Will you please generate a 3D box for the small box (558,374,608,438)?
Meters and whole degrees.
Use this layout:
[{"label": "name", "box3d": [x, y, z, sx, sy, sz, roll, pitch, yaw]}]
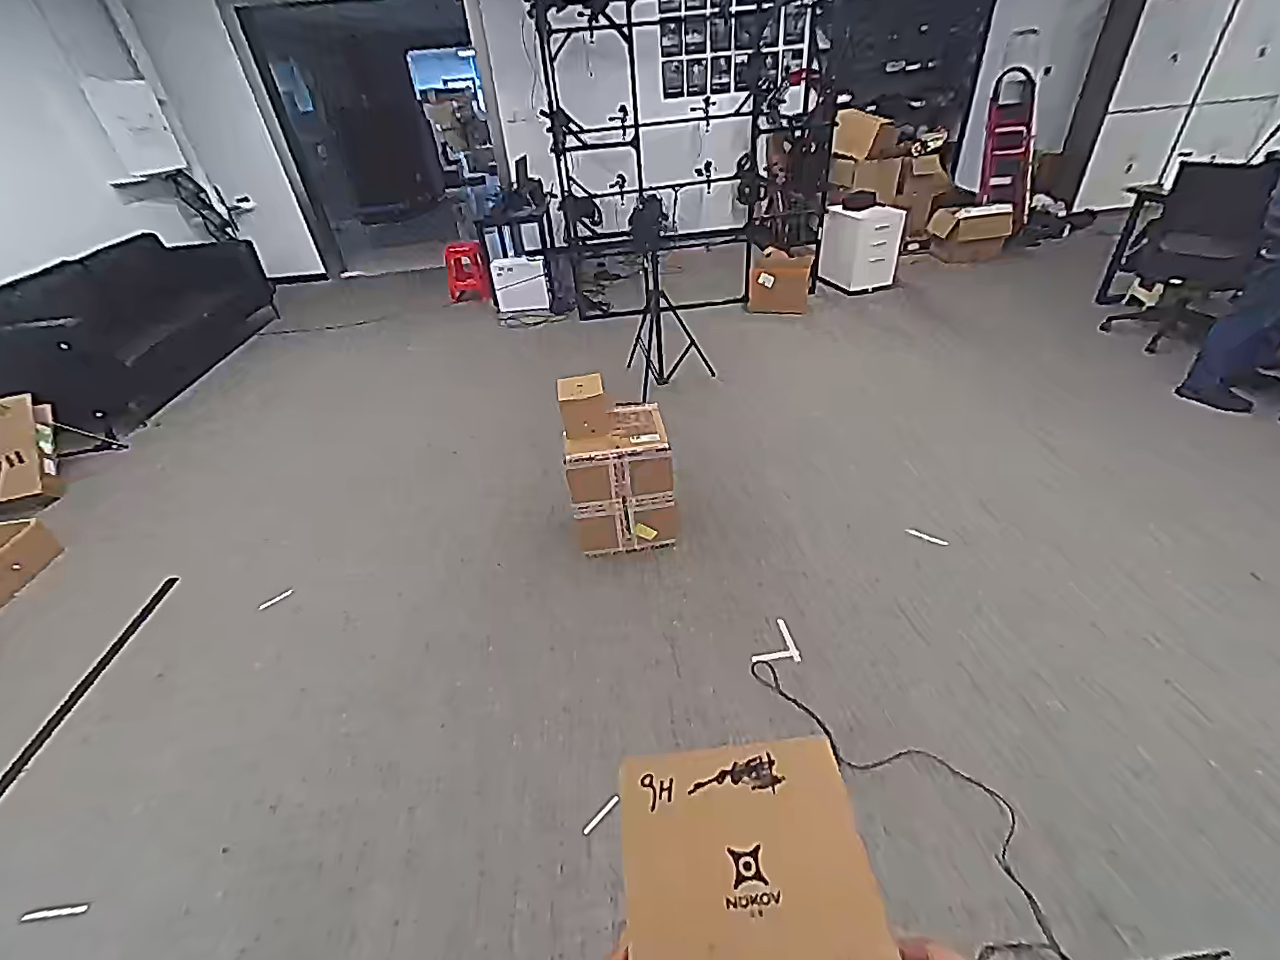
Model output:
[{"label": "small box", "box3d": [-0.217, -0.283, 2.066, 0.168, 0.176, 0.179, -10, 38, -2]}]
